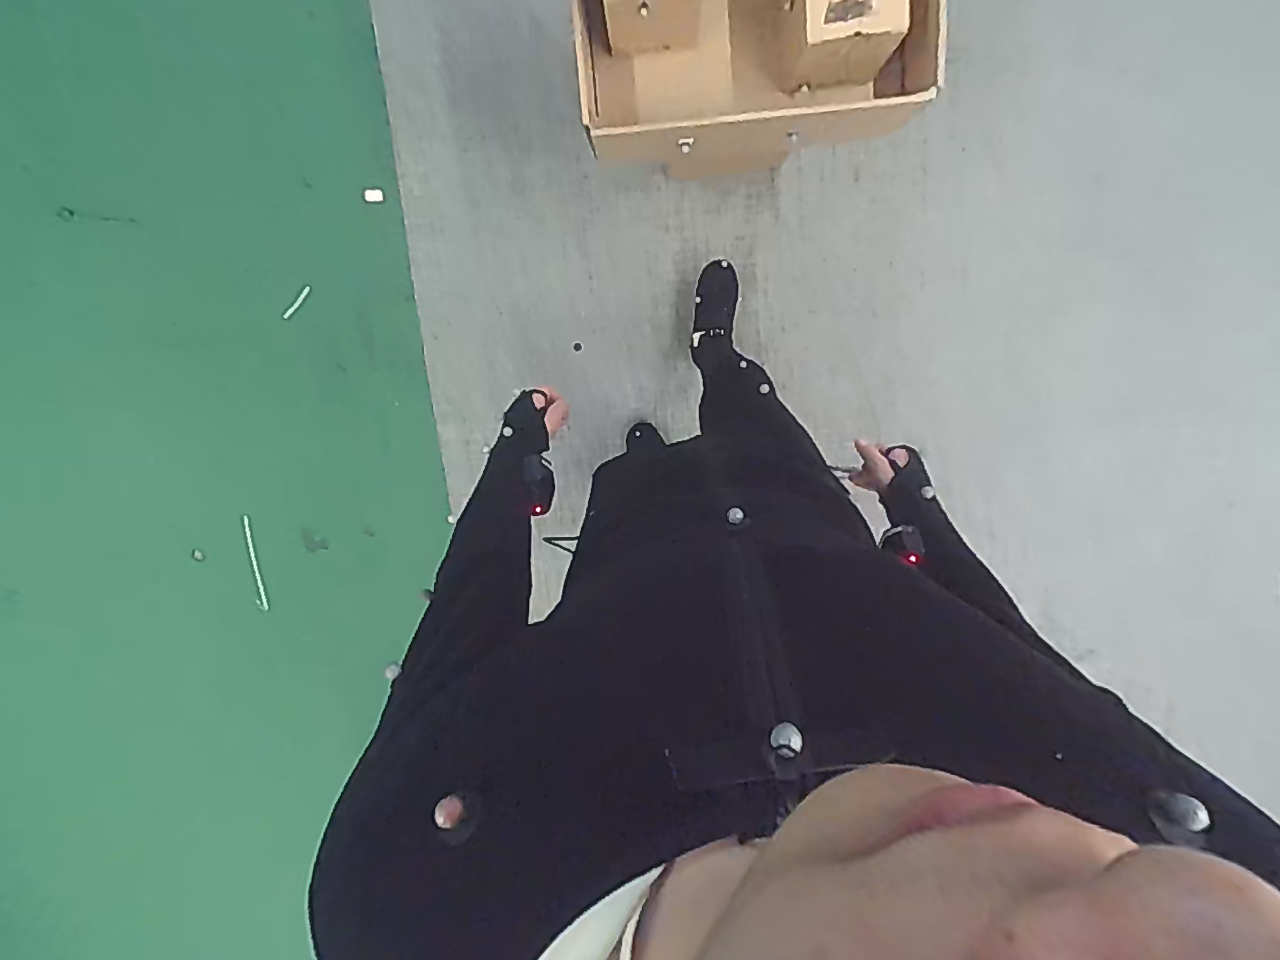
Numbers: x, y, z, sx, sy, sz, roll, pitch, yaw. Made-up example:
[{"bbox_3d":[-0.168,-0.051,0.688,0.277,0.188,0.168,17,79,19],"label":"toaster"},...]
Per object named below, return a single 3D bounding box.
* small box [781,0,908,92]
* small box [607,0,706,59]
[{"bbox_3d":[0.346,-0.808,0.939,0.168,0.176,0.179,-5,100,2],"label":"small box"},{"bbox_3d":[0.024,-0.875,0.934,0.168,0.176,0.179,-3,101,1],"label":"small box"}]
